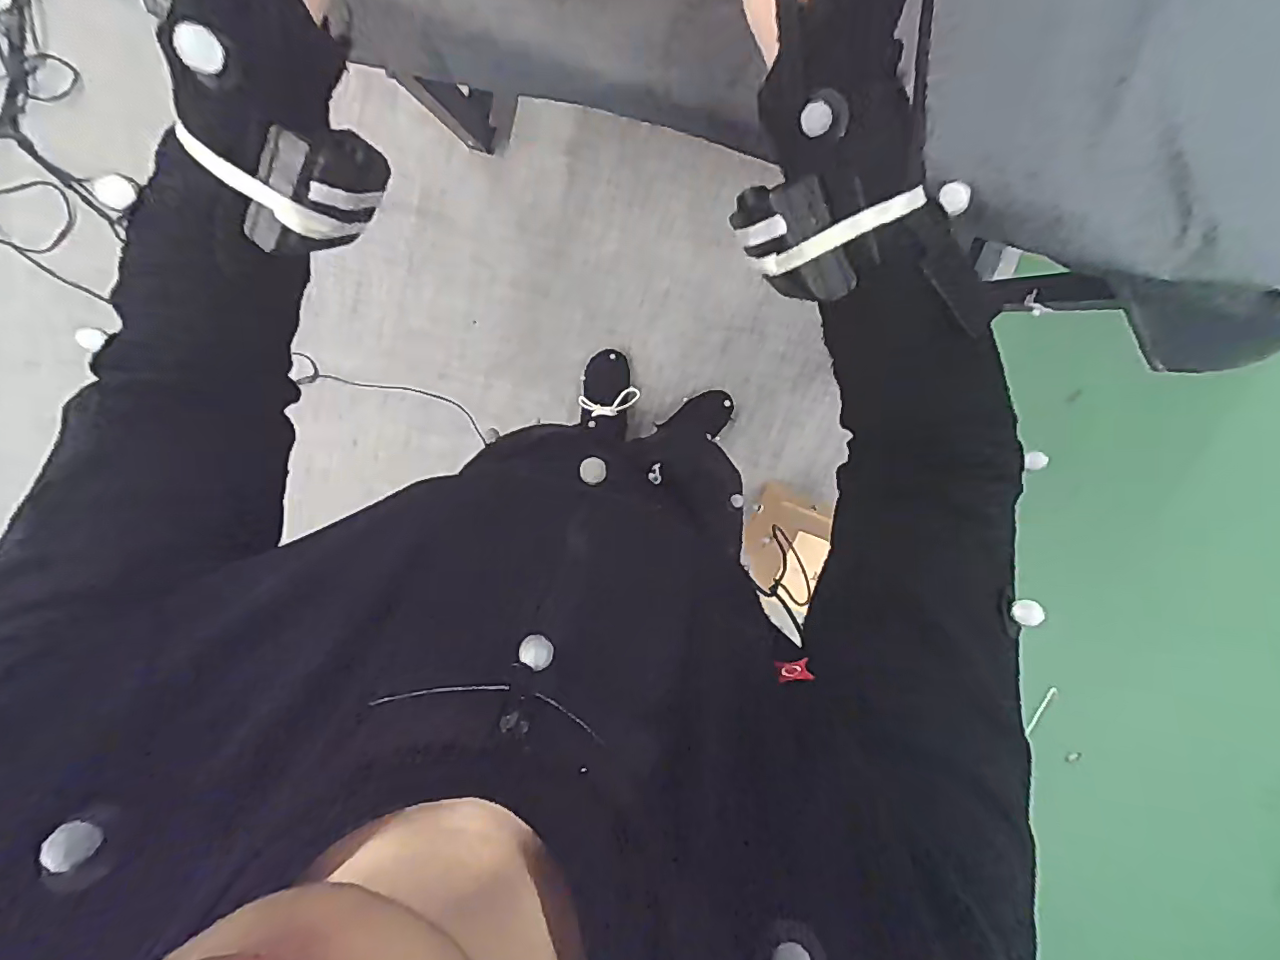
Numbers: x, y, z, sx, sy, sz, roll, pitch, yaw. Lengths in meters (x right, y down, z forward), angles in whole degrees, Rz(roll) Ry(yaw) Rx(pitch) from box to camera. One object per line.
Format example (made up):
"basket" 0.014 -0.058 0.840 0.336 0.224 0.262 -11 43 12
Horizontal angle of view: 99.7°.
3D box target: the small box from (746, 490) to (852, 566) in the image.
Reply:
"small box" 0.384 0.141 1.338 0.179 0.176 0.168 21 104 -3

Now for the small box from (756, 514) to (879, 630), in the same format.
"small box" 0.376 0.192 1.182 0.179 0.176 0.168 21 104 -4
